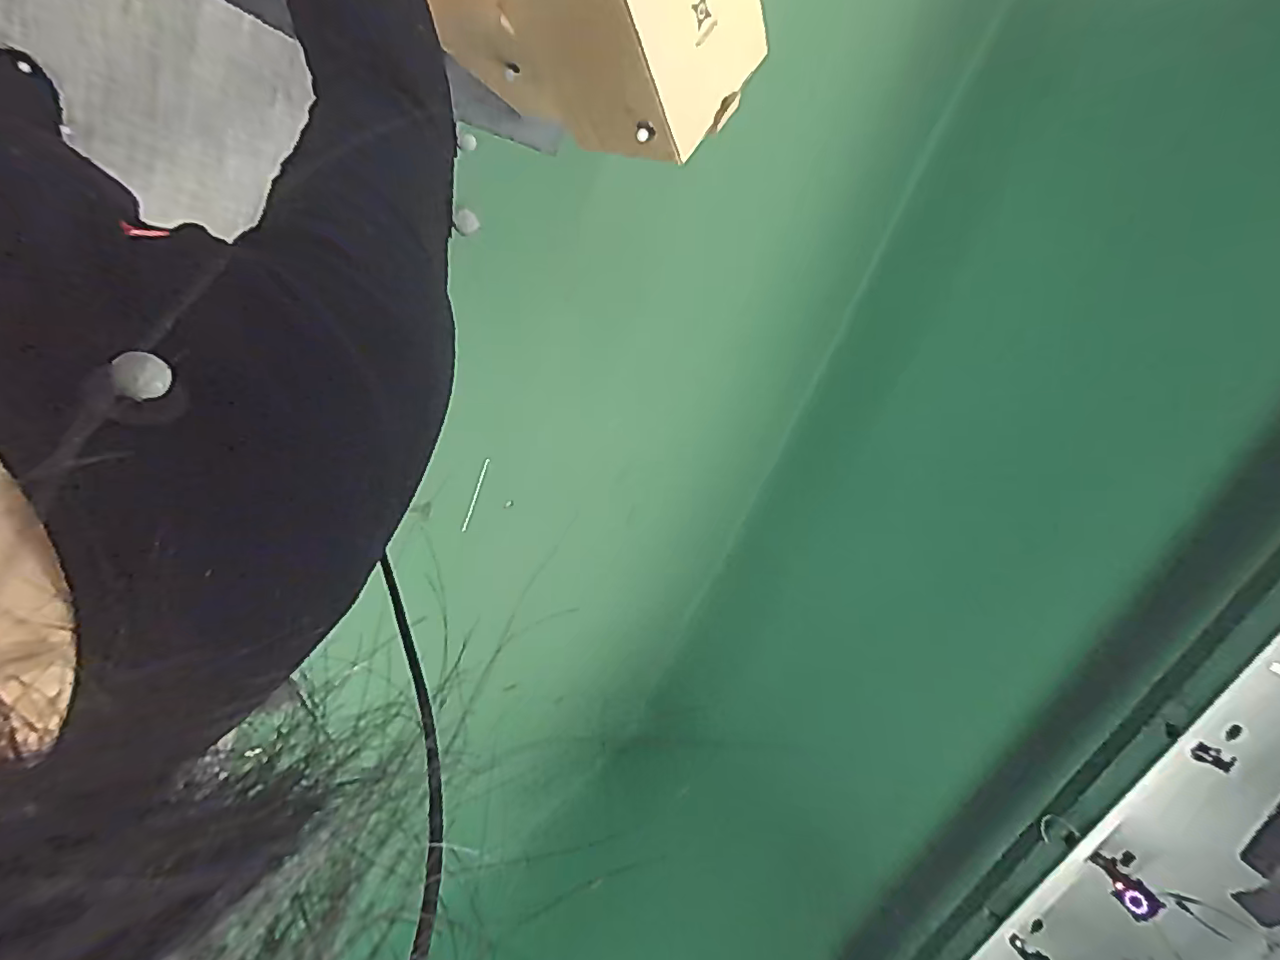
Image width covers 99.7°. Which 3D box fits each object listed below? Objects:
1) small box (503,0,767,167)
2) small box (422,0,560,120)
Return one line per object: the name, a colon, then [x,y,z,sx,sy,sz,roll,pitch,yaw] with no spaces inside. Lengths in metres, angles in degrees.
small box: [-0.002,-0.451,0.537,0.168,0.176,0.179,-55,148,-7]
small box: [-0.116,-0.538,0.618,0.179,0.176,0.168,8,110,-54]
